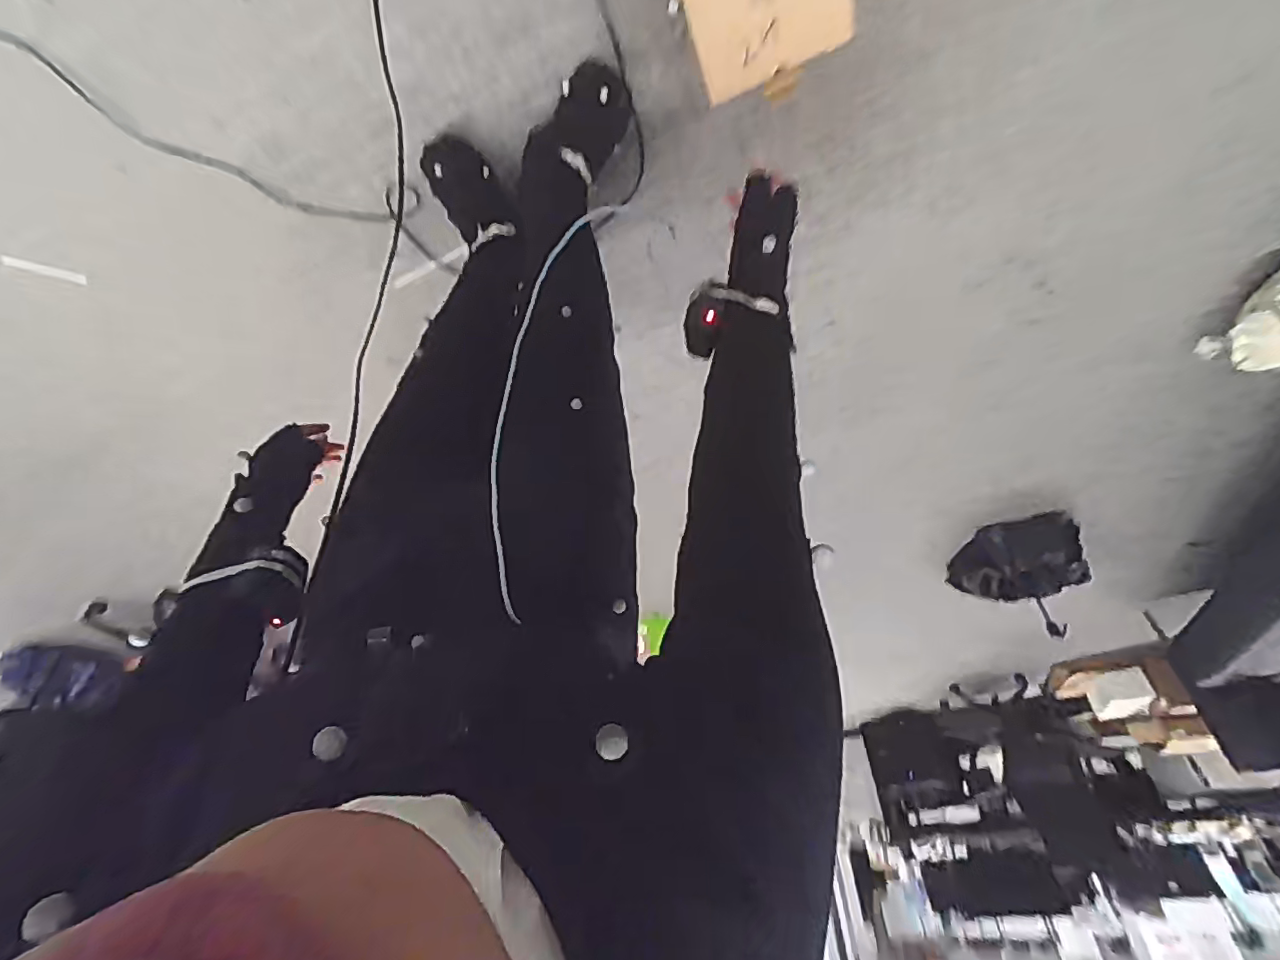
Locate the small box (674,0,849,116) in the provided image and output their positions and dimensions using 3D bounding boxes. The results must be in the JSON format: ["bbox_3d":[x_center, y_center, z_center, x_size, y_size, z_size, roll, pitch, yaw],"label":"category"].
[{"bbox_3d":[0.124,-0.568,0.616,0.168,0.176,0.179,-16,140,16],"label":"small box"}]
